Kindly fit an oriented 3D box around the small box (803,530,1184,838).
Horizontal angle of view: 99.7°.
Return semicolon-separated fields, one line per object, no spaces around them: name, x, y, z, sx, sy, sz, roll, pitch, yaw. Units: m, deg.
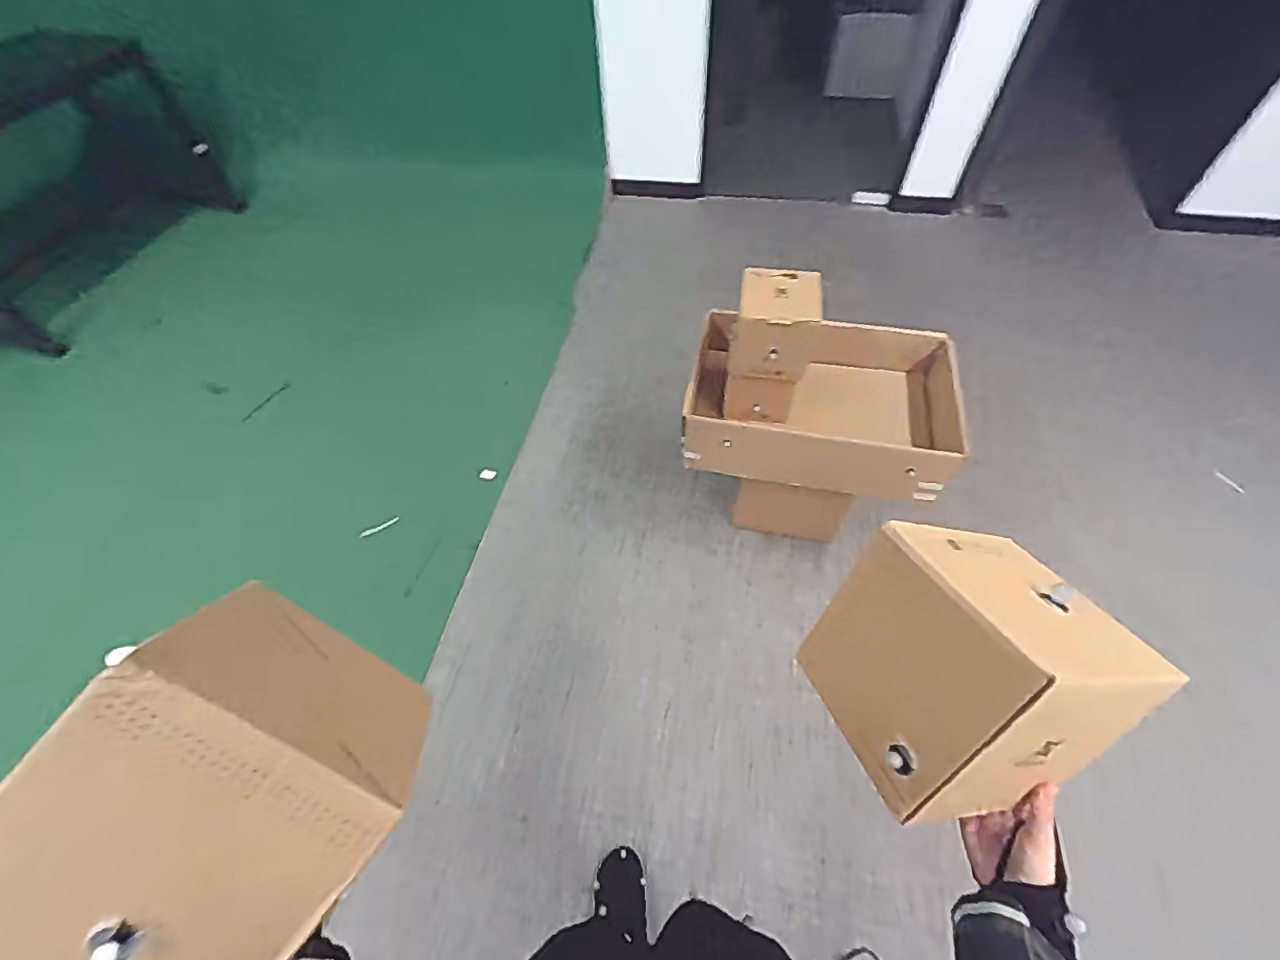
small box;0.270;0.162;0.459;0.168;0.179;0.176;9;30;-23

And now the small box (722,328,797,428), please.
small box;0.298;-0.255;1.359;0.168;0.176;0.179;5;56;8

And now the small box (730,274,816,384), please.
small box;0.296;-0.336;1.215;0.168;0.176;0.179;6;56;7

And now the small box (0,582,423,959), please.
small box;-0.269;0.199;0.365;0.179;0.168;0.176;41;82;-14
